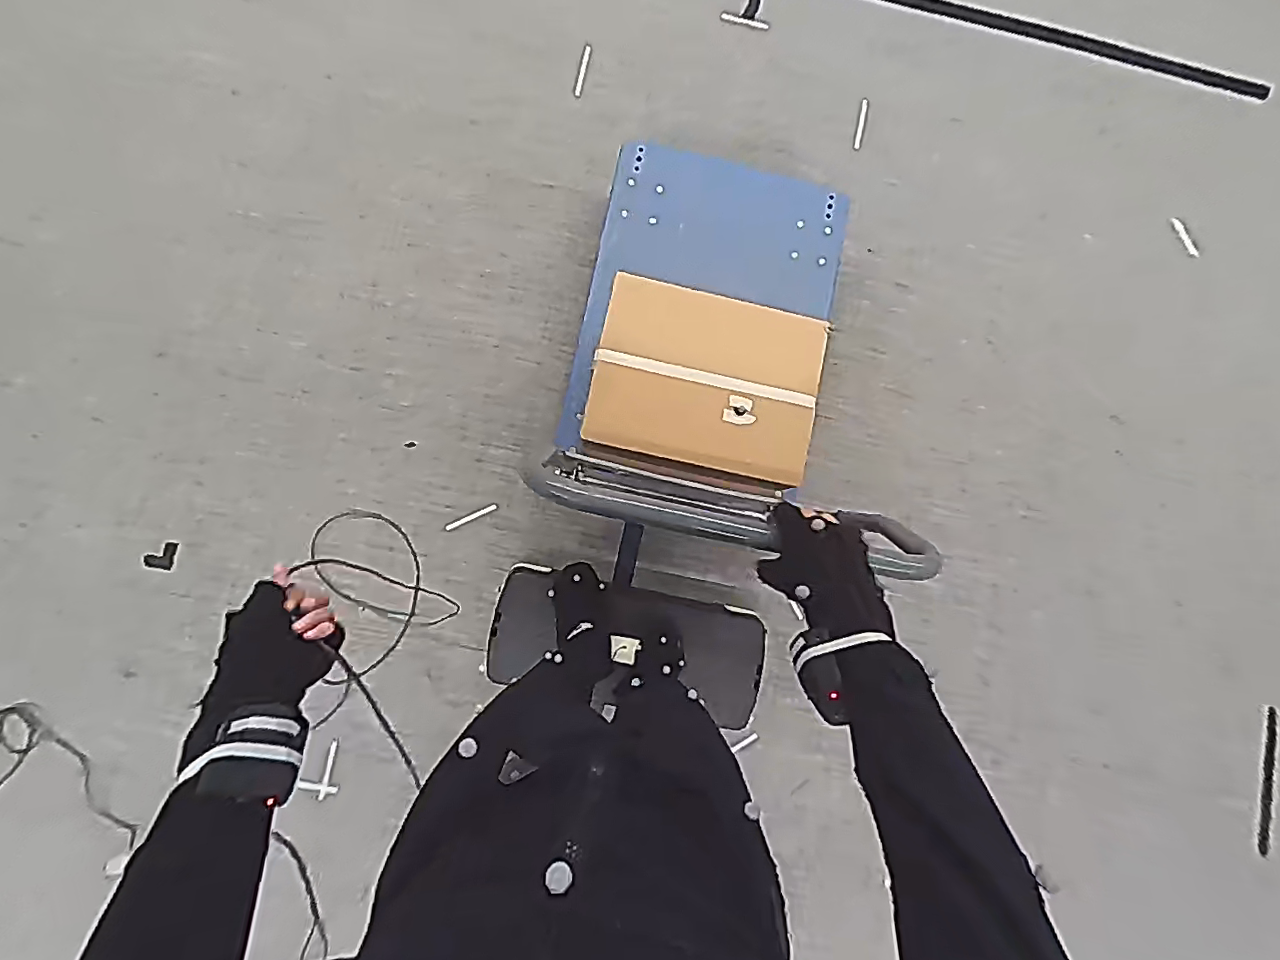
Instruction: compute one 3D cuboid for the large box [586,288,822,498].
[{"bbox_3d":[0.109,-0.156,1.139,0.408,0.320,0.320,12,85,-4],"label":"large box"}]
